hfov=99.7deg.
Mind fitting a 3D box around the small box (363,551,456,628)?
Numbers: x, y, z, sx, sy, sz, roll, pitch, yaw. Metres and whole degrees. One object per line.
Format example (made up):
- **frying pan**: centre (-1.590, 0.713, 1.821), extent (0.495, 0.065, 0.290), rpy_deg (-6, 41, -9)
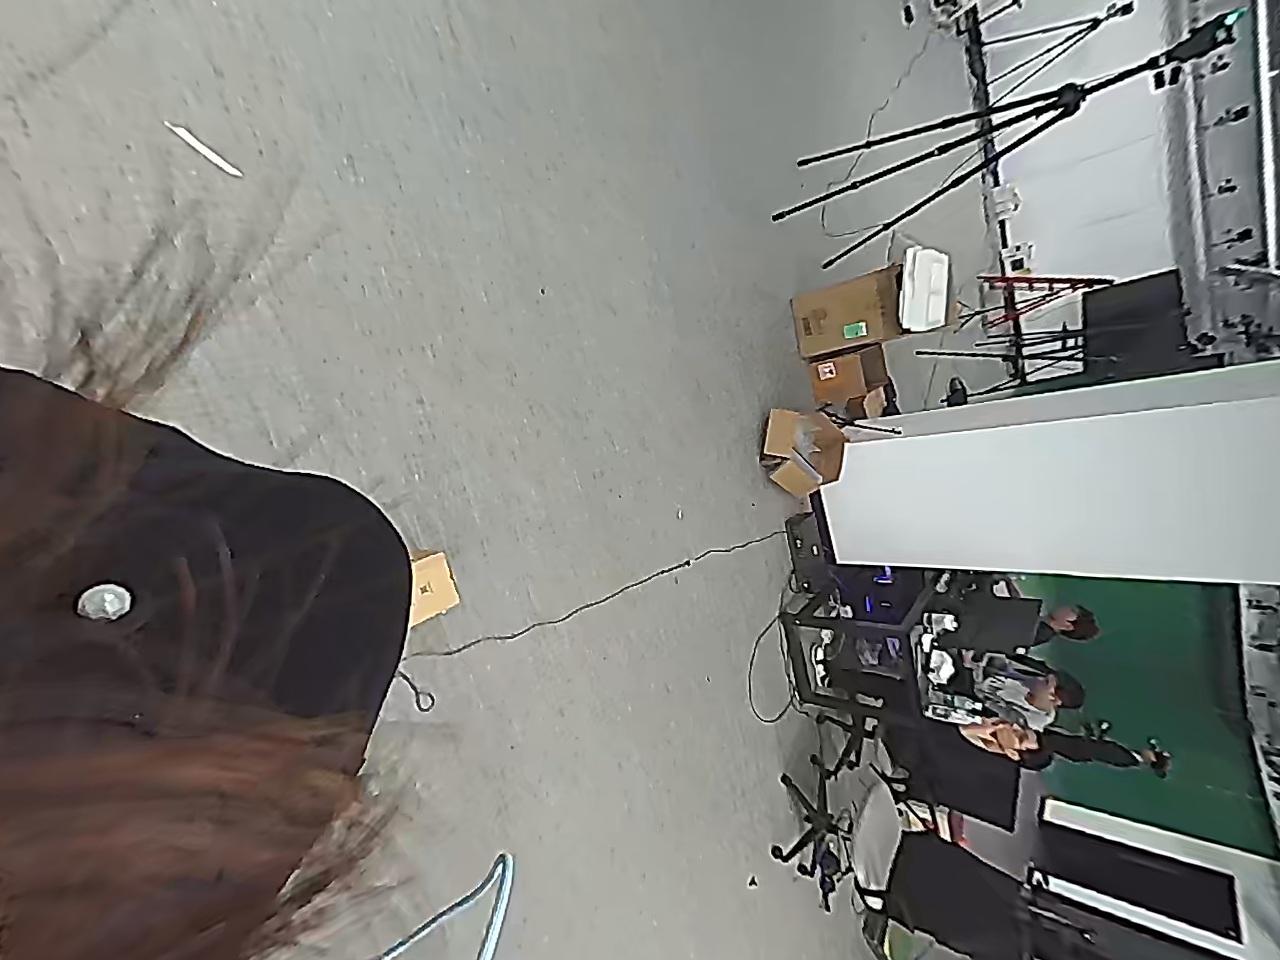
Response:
- **small box**: centre (-0.674, 0.310, 1.580), extent (0.179, 0.176, 0.168), rpy_deg (-23, 102, -45)
